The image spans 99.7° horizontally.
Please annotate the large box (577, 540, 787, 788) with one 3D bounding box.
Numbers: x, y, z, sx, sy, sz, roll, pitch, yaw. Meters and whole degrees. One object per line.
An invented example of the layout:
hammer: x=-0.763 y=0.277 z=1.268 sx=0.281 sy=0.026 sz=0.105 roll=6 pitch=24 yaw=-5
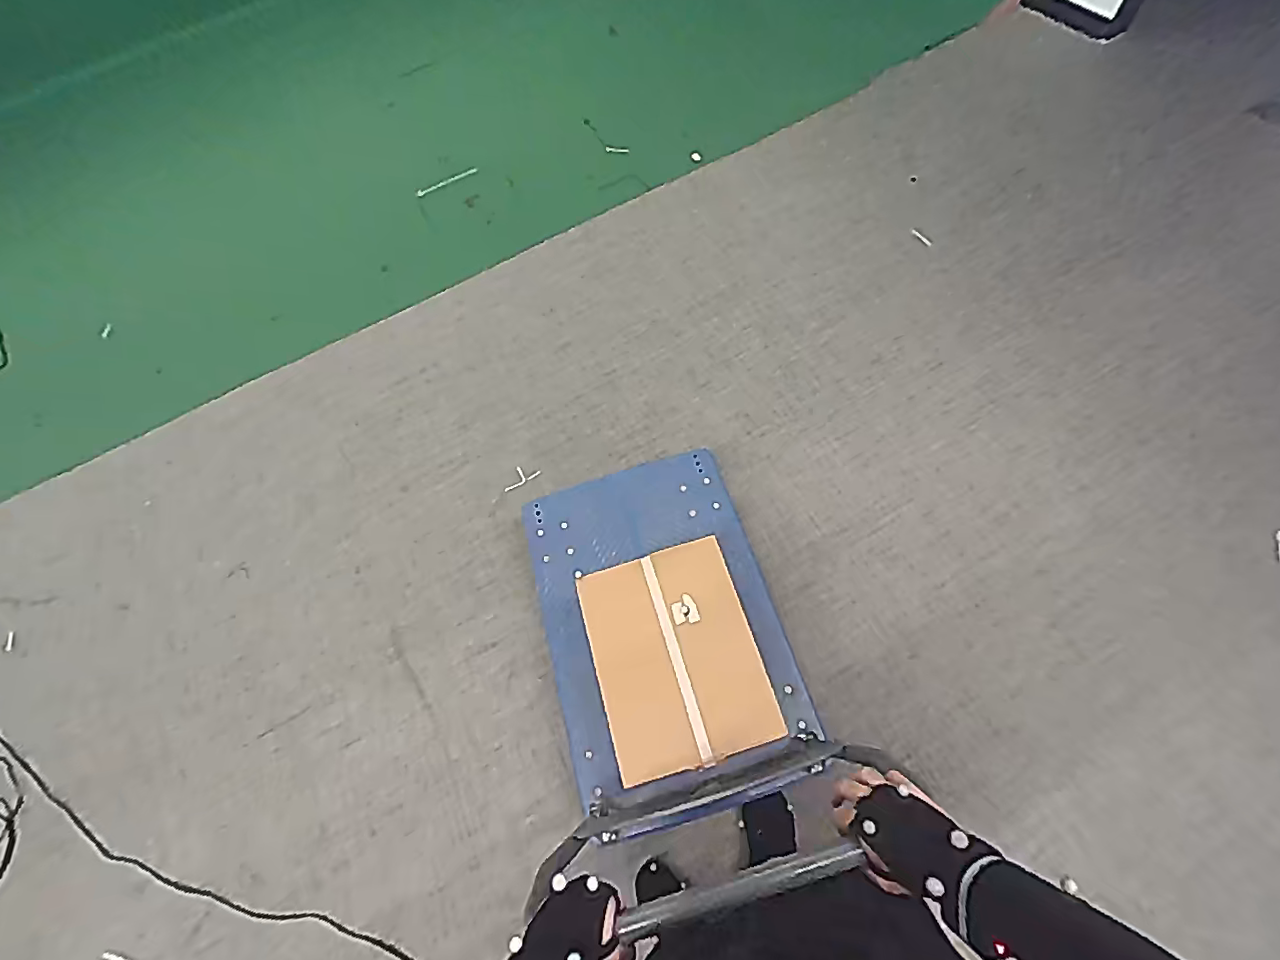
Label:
large box: x=0.086 y=0.405 z=1.187 sx=0.320 sy=0.320 sz=0.408 roll=-17 pitch=62 yaw=-2
